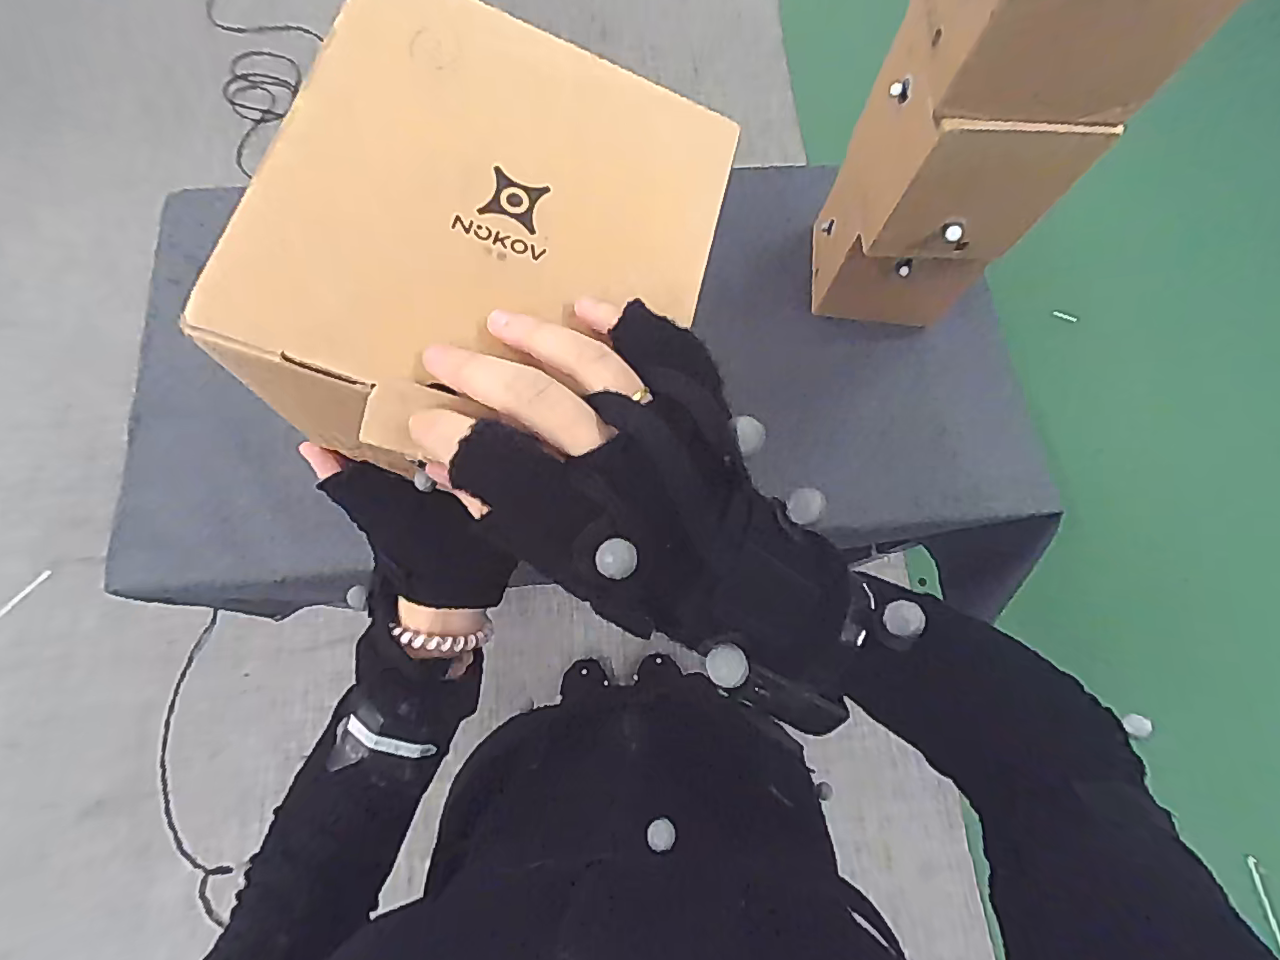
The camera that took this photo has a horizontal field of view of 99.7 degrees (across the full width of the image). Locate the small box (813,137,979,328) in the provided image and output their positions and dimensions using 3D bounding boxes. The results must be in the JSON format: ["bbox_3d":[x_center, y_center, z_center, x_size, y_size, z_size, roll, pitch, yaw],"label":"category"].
[{"bbox_3d":[0.349,-0.329,0.742,0.179,0.176,0.168,7,73,0],"label":"small box"}]

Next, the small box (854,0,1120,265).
[{"bbox_3d":[0.346,-0.361,0.581,0.168,0.176,0.179,1,73,-1],"label":"small box"}]

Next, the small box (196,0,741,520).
[{"bbox_3d":[-0.070,-0.090,0.287,0.168,0.176,0.179,18,75,-11],"label":"small box"}]

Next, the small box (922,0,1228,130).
[{"bbox_3d":[0.346,-0.412,0.426,0.179,0.176,0.168,3,73,0],"label":"small box"}]
